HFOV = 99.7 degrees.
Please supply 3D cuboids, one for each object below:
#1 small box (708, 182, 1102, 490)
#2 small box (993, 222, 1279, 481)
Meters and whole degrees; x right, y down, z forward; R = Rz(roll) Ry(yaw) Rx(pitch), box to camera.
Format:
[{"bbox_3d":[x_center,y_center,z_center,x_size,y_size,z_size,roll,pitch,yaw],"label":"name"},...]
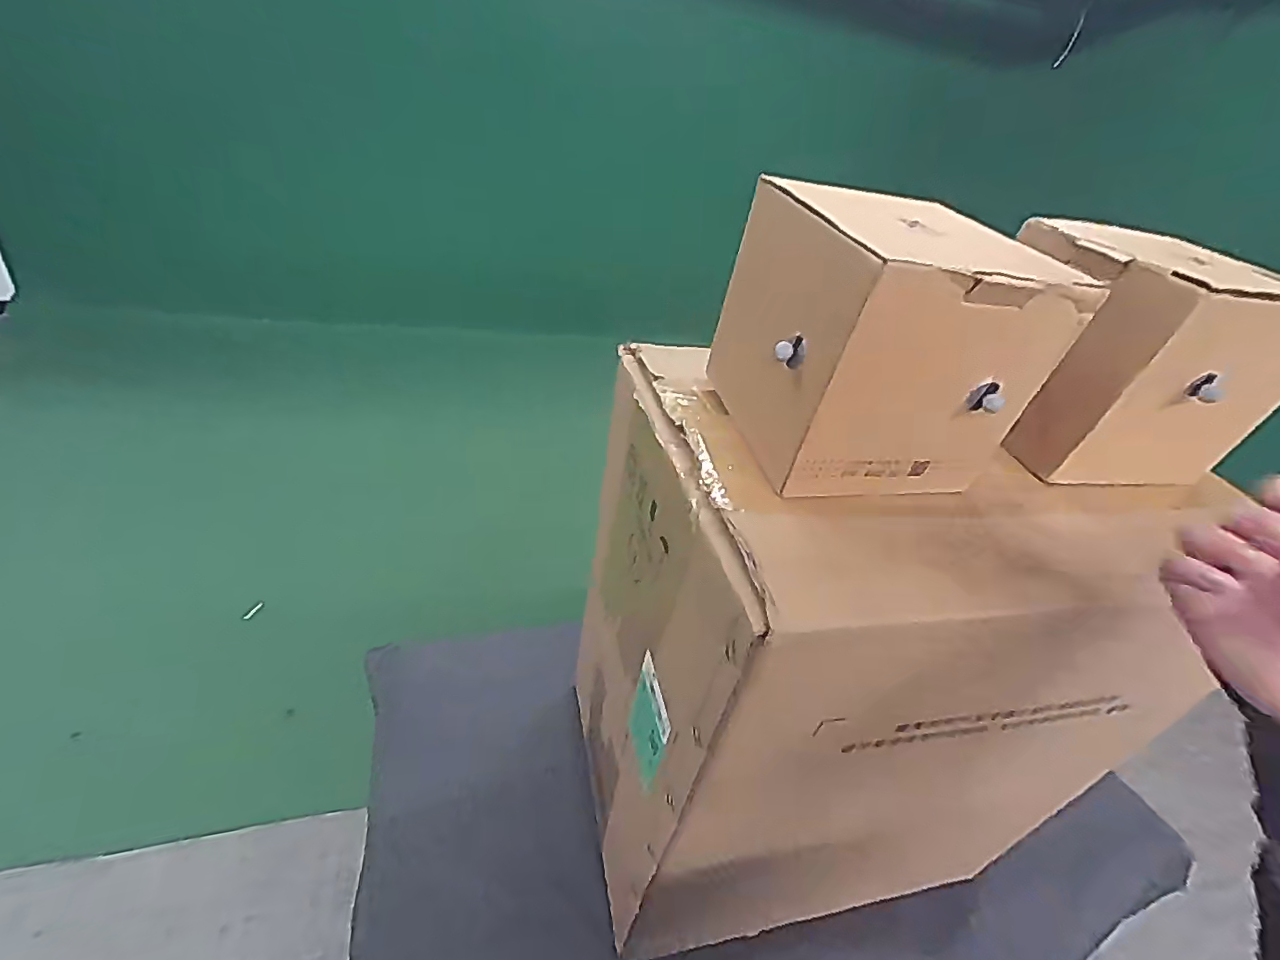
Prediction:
[{"bbox_3d":[0.169,-0.105,0.413,0.168,0.176,0.179,0,40,-17],"label":"small box"},{"bbox_3d":[0.416,-0.111,0.480,0.179,0.176,0.168,-1,41,-14],"label":"small box"}]
